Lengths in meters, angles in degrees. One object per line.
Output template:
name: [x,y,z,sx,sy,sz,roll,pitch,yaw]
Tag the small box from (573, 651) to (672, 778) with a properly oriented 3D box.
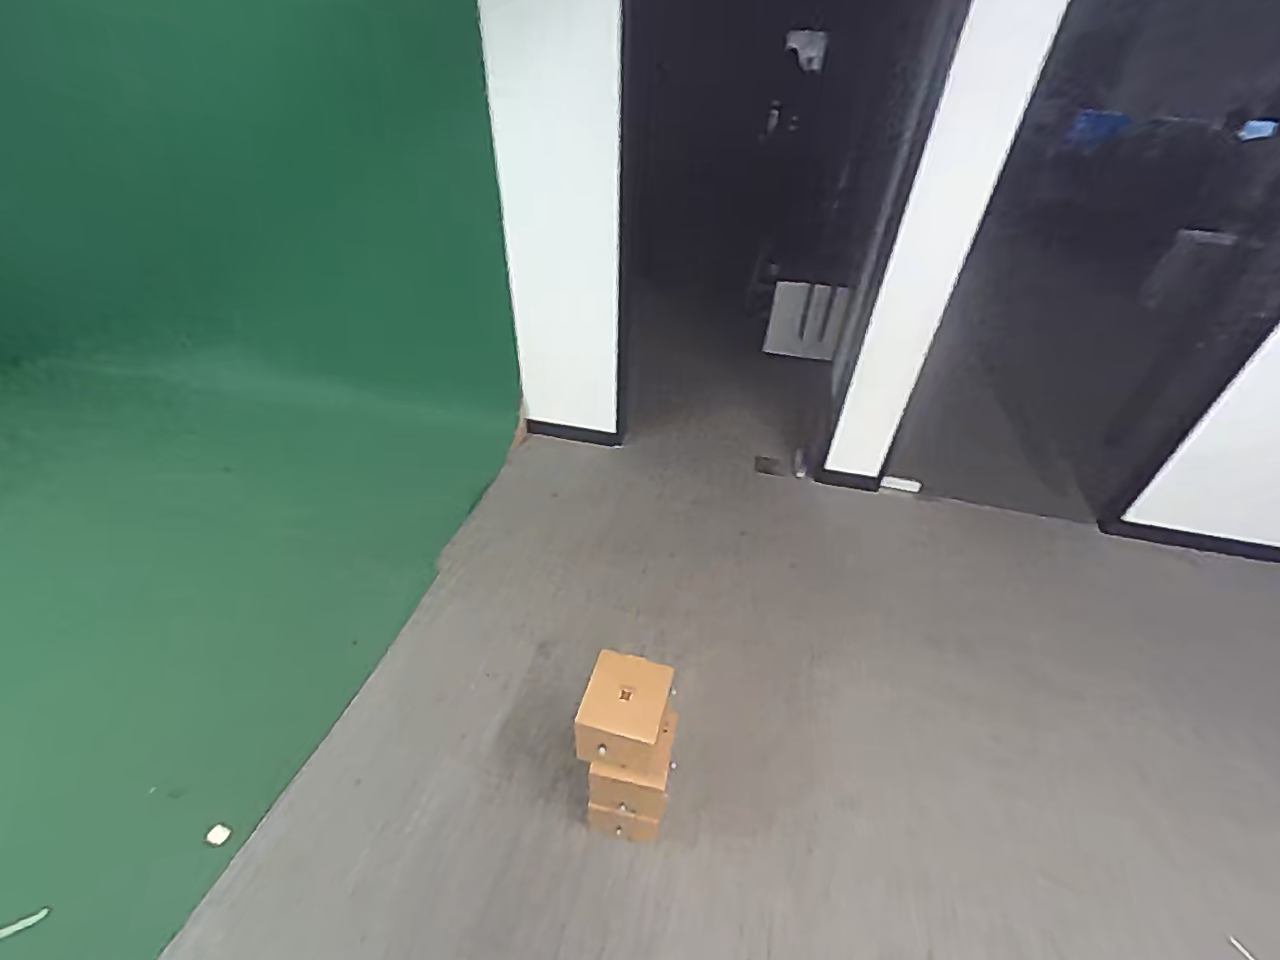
small box: [-0.033,0.504,1.160,0.168,0.176,0.179,11,40,11]
